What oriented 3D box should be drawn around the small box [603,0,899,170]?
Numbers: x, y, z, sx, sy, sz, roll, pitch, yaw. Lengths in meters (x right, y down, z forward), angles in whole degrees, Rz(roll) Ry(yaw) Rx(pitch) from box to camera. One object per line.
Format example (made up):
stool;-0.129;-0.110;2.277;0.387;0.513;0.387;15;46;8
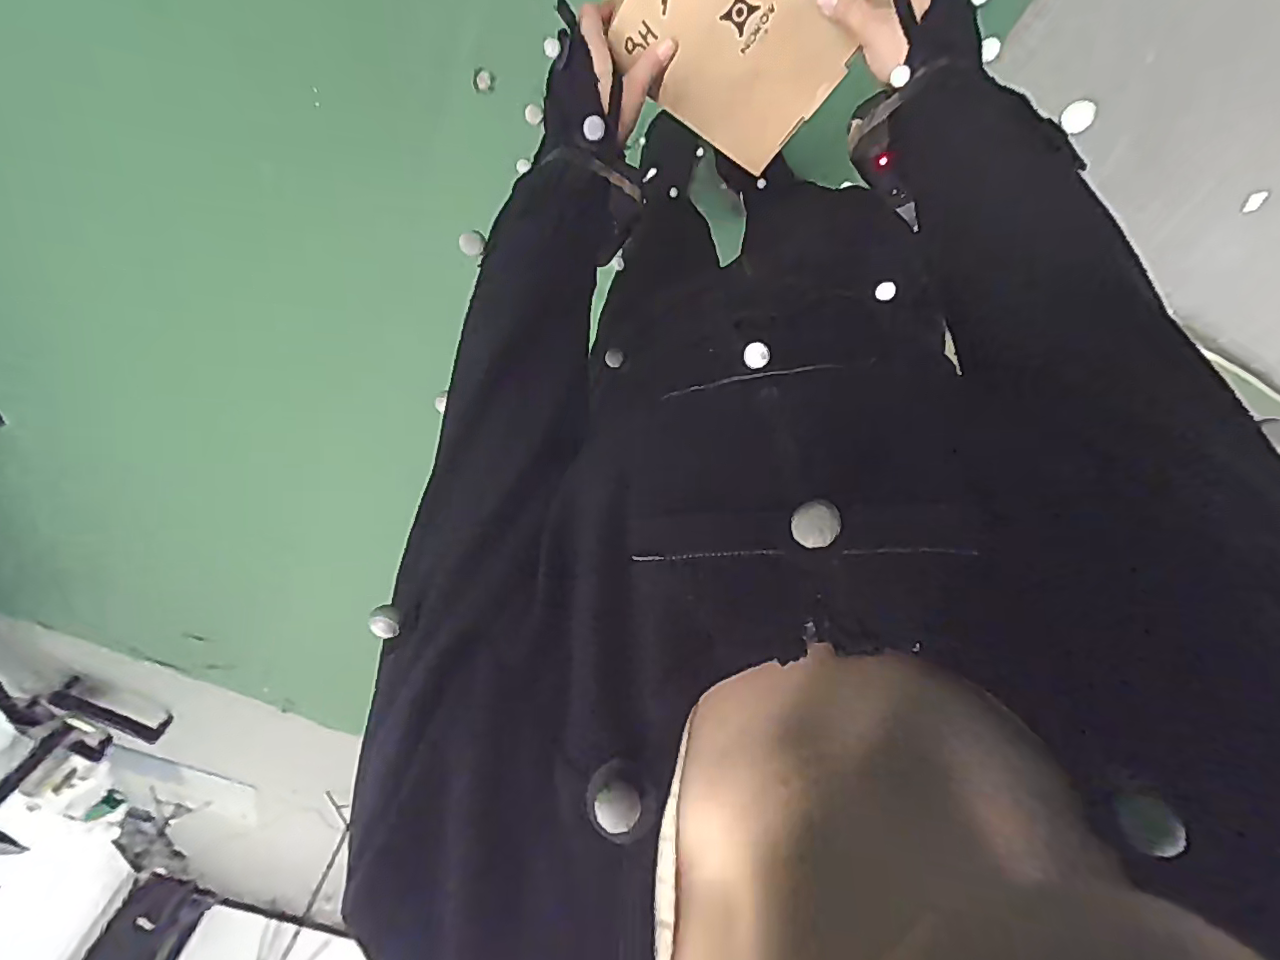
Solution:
small box;0.084;-0.421;0.463;0.179;0.176;0.168;21;138;-27
